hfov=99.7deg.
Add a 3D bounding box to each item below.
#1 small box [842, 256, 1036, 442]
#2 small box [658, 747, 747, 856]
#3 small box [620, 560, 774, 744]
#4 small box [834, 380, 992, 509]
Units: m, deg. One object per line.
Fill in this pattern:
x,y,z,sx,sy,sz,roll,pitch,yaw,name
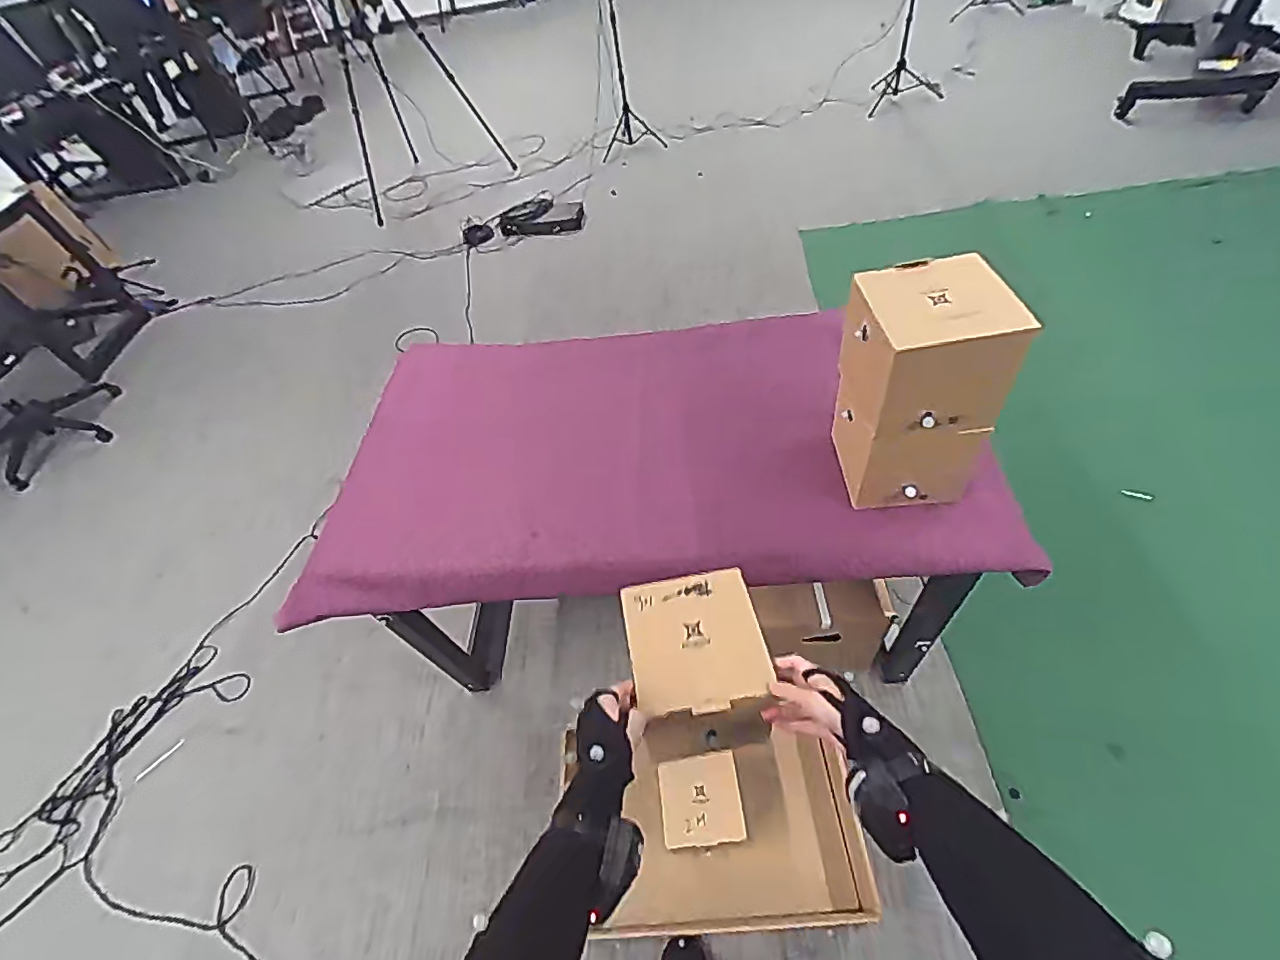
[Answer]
0.389,-0.177,0.746,0.168,0.176,0.179,-8,50,6,small box
0.134,0.702,1.177,0.168,0.176,0.179,-9,52,4,small box
0.070,0.236,0.724,0.168,0.176,0.179,-9,48,-2,small box
0.419,-0.074,0.868,0.168,0.176,0.179,-5,50,8,small box
